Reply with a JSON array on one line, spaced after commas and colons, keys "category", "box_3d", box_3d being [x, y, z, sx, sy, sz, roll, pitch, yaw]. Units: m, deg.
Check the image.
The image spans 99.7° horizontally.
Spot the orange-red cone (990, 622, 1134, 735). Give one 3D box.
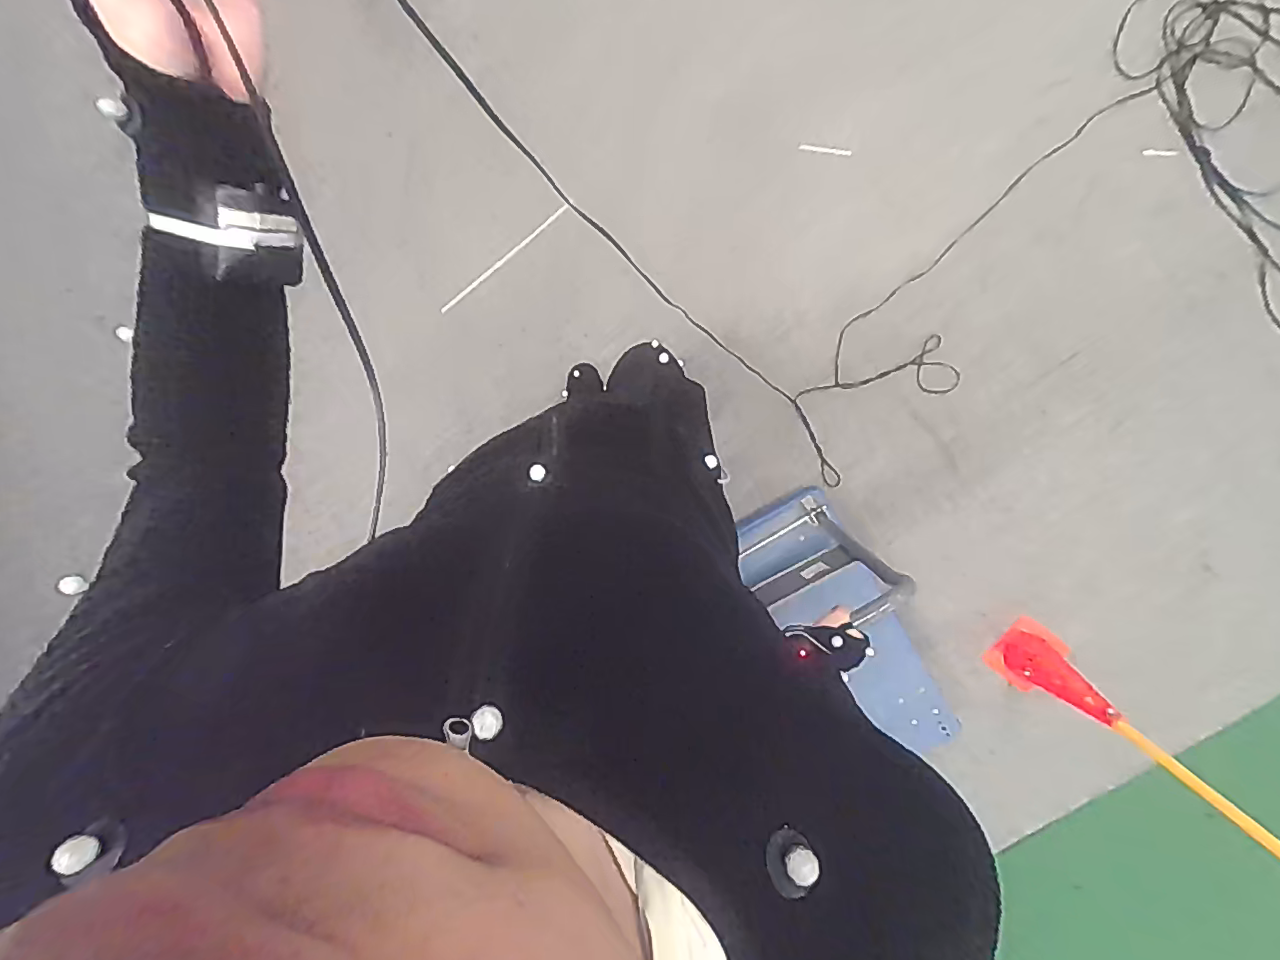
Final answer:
[{"category": "orange-red cone", "box_3d": [1.223, 0.590, 1.527, 0.198, 0.360, 0.199, 38, 98, -7]}]
